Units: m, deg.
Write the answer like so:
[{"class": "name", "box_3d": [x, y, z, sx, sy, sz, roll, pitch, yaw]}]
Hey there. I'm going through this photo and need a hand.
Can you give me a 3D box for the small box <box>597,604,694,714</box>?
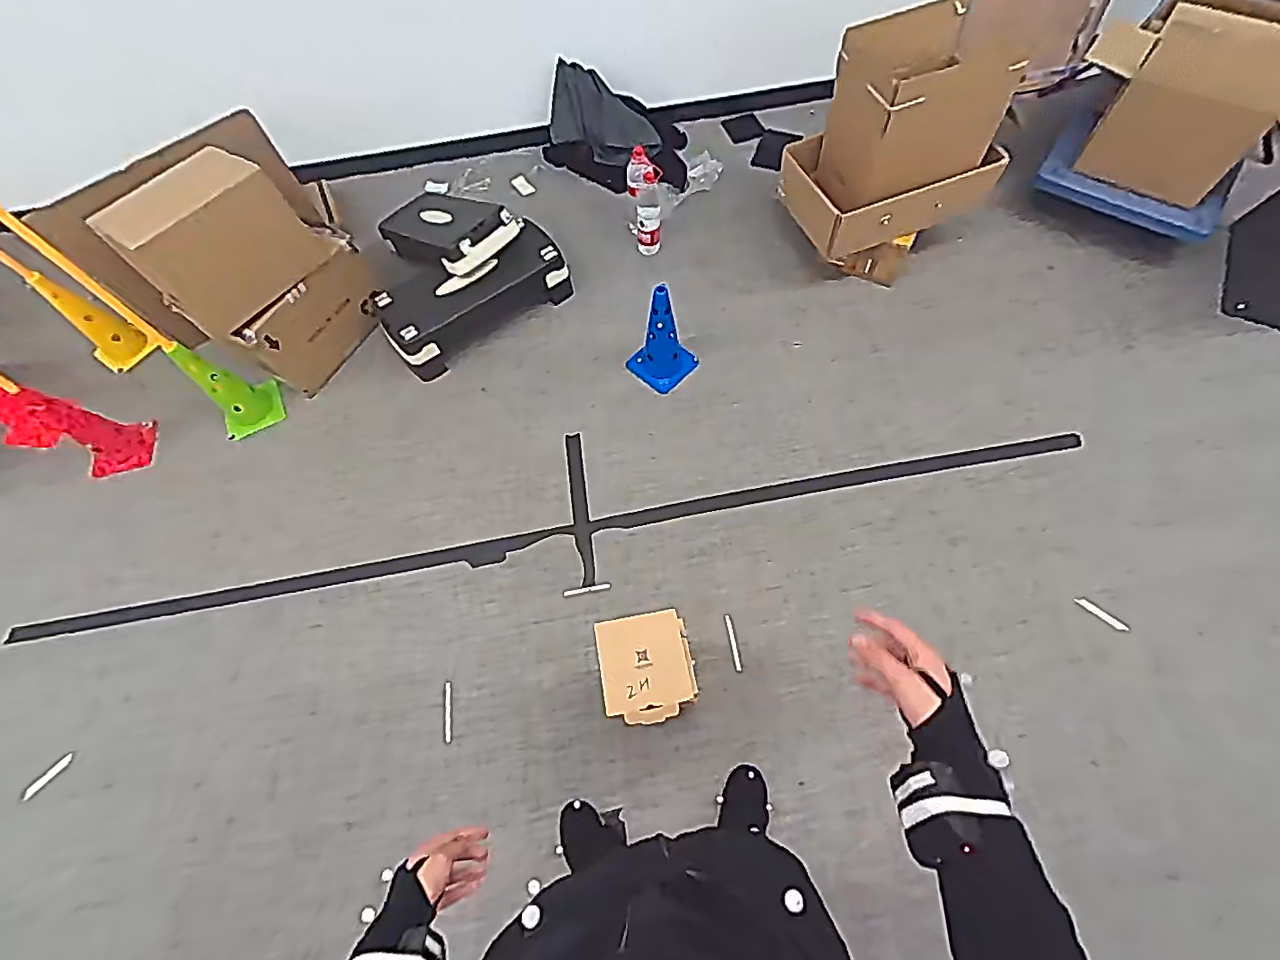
[{"class": "small box", "box_3d": [0.009, 0.367, 1.097, 0.168, 0.176, 0.179, -10, 65, -2]}]
